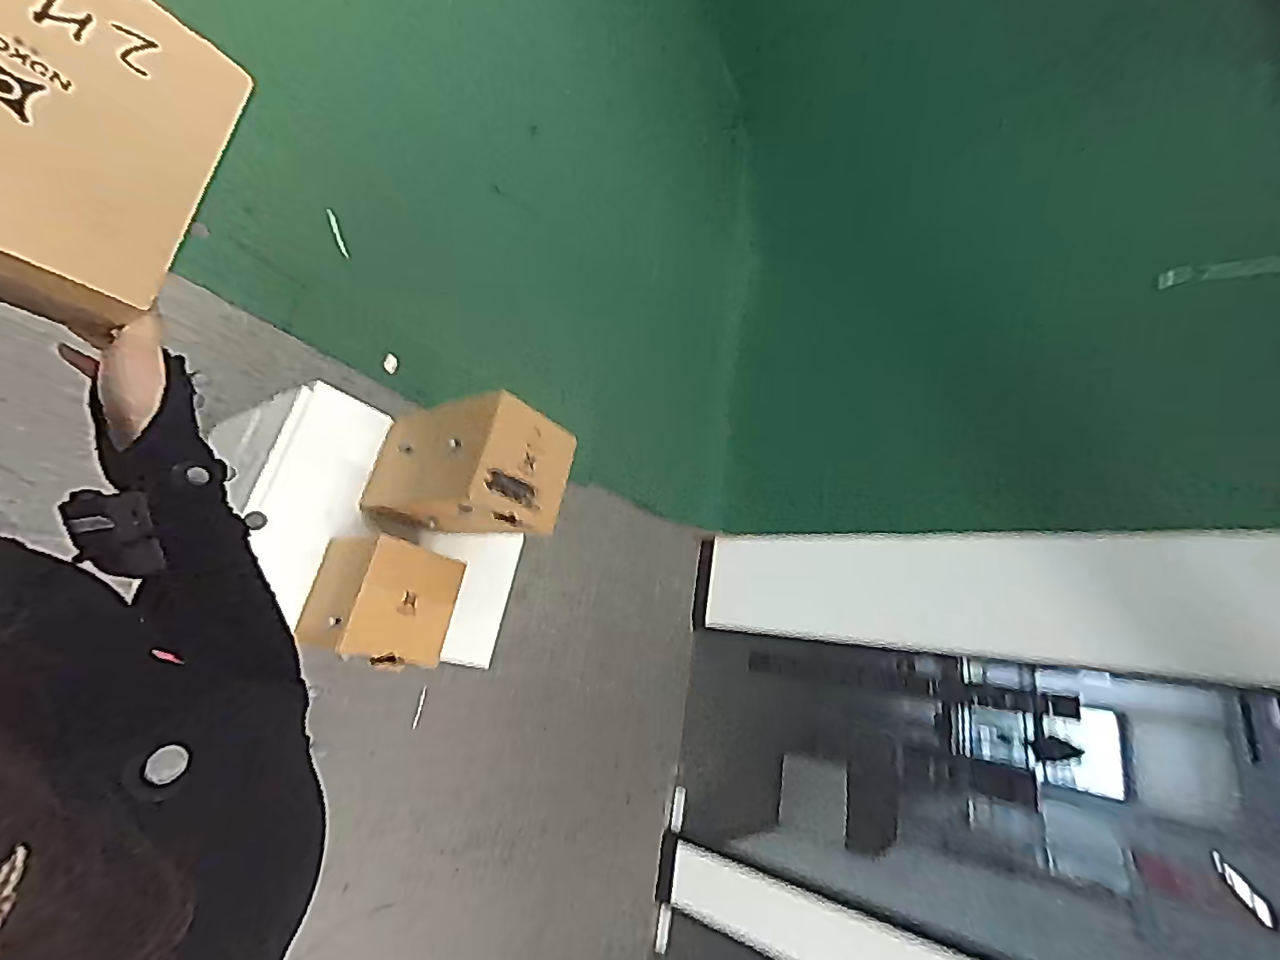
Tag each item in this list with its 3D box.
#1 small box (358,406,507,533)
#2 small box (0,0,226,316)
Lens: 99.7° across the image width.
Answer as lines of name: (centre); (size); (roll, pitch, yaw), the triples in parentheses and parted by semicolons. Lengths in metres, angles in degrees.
small box: (-0.376, -0.012, 0.980); (0.168, 0.176, 0.179); (33, 62, -46)
small box: (-0.392, -0.214, 0.316); (0.168, 0.176, 0.179); (26, 74, -52)
